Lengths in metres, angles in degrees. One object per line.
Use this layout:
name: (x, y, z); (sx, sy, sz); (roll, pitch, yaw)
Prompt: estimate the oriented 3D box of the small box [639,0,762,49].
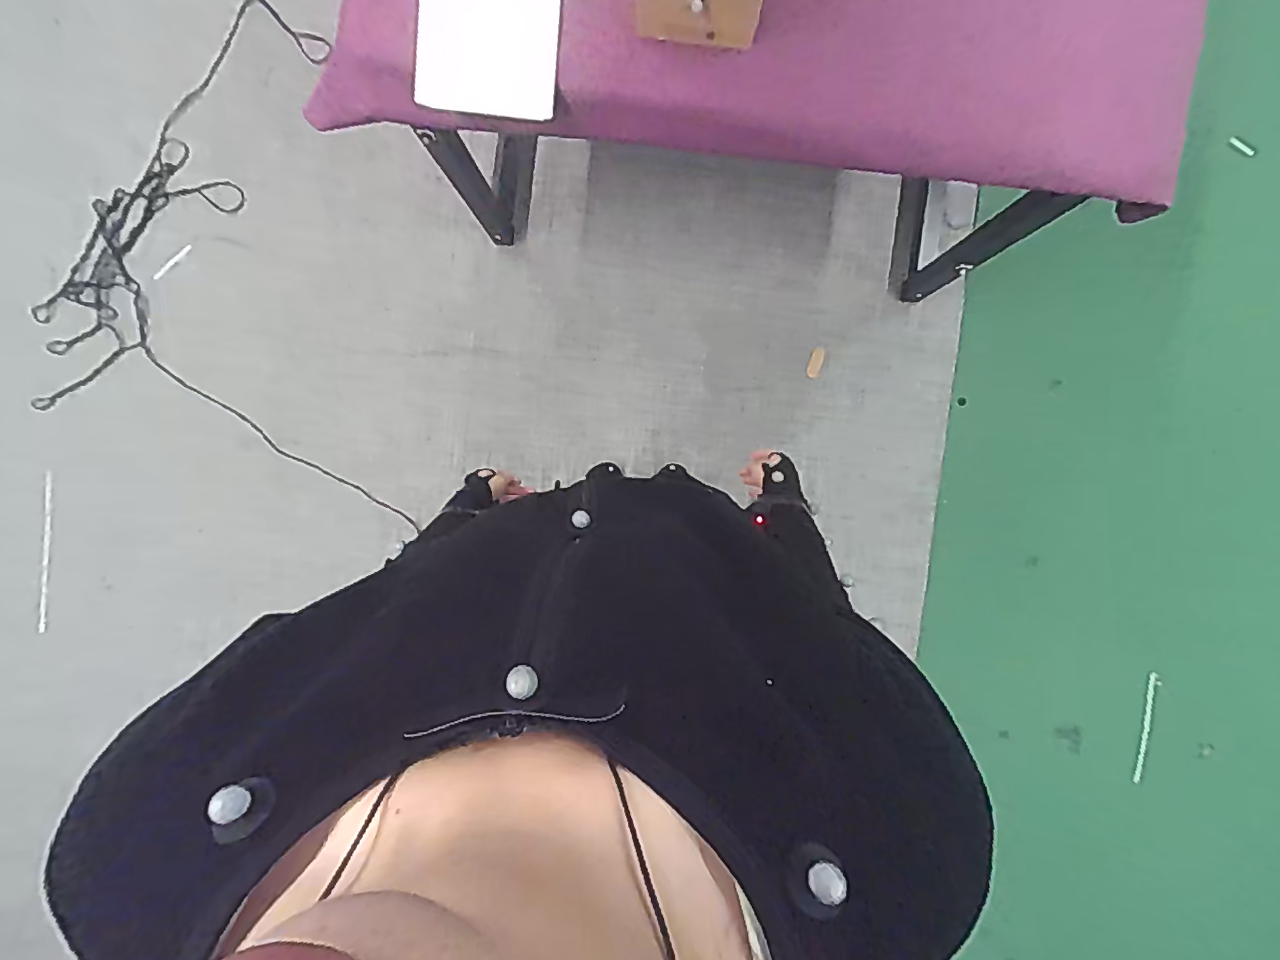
small box: (0.088, -0.704, 0.693); (0.168, 0.176, 0.179); (8, 92, 0)
